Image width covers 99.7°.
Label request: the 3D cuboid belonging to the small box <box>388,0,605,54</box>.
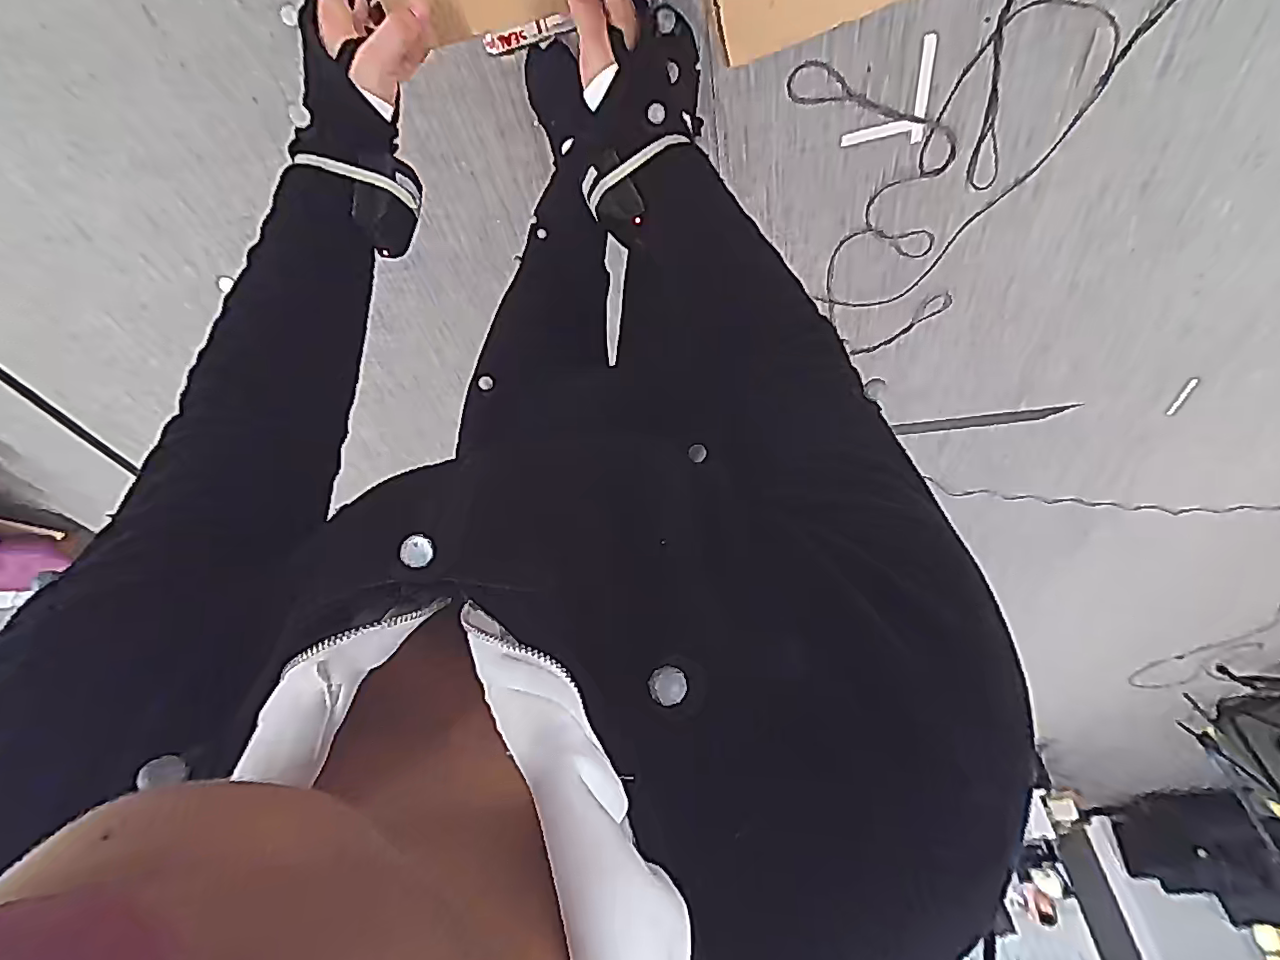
[{"bbox_3d":[-0.124,-0.471,0.408,0.168,0.176,0.179,-8,144,9],"label":"small box"}]

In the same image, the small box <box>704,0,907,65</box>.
[{"bbox_3d":[0.106,-0.381,0.300,0.179,0.176,0.168,-13,142,14],"label":"small box"}]
